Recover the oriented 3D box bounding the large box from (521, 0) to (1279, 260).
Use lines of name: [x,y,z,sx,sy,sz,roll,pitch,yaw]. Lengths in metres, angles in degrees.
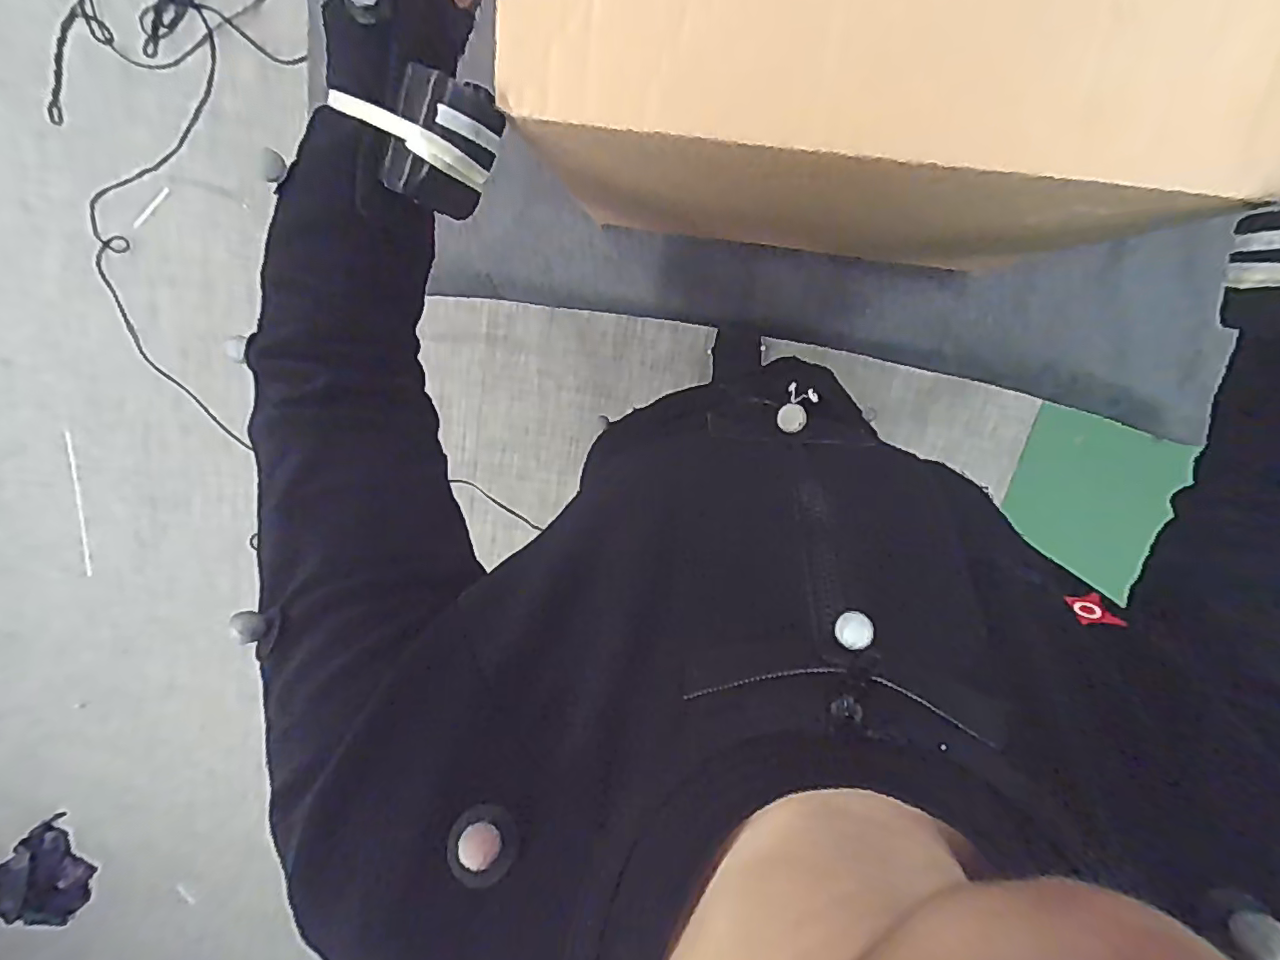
large box: [0.154,-0.358,0.391,0.408,0.320,0.320,7,106,2]
